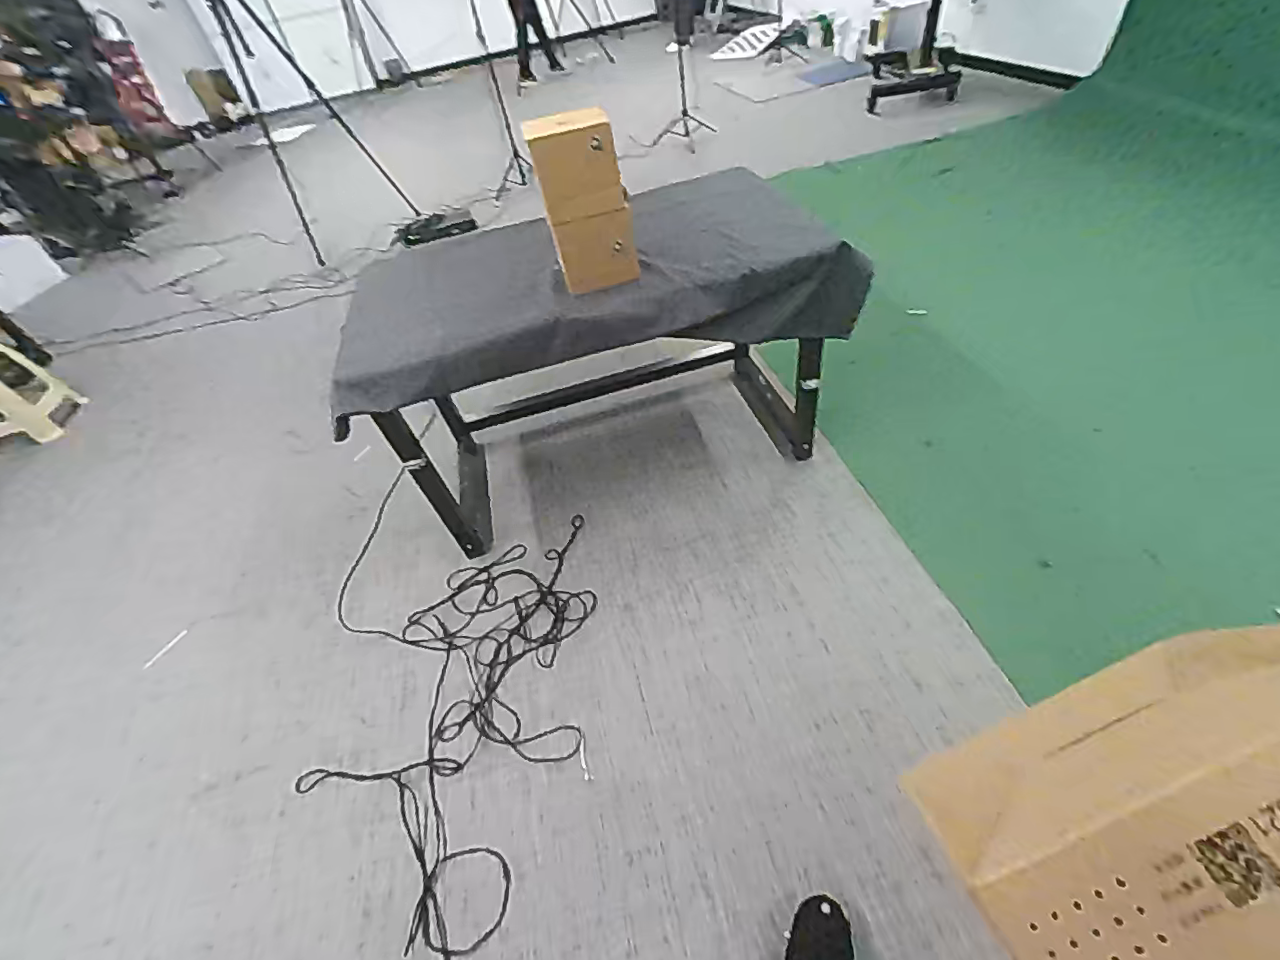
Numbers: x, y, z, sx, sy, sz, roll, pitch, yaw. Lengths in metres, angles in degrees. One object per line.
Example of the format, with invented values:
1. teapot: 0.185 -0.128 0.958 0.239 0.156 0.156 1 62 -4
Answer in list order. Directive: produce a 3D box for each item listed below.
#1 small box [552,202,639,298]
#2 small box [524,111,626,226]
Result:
1. small box: -0.107 -0.563 1.291 0.179 0.176 0.168 -18 45 -3
2. small box: -0.141 -0.674 1.177 0.179 0.176 0.168 -15 45 -3
